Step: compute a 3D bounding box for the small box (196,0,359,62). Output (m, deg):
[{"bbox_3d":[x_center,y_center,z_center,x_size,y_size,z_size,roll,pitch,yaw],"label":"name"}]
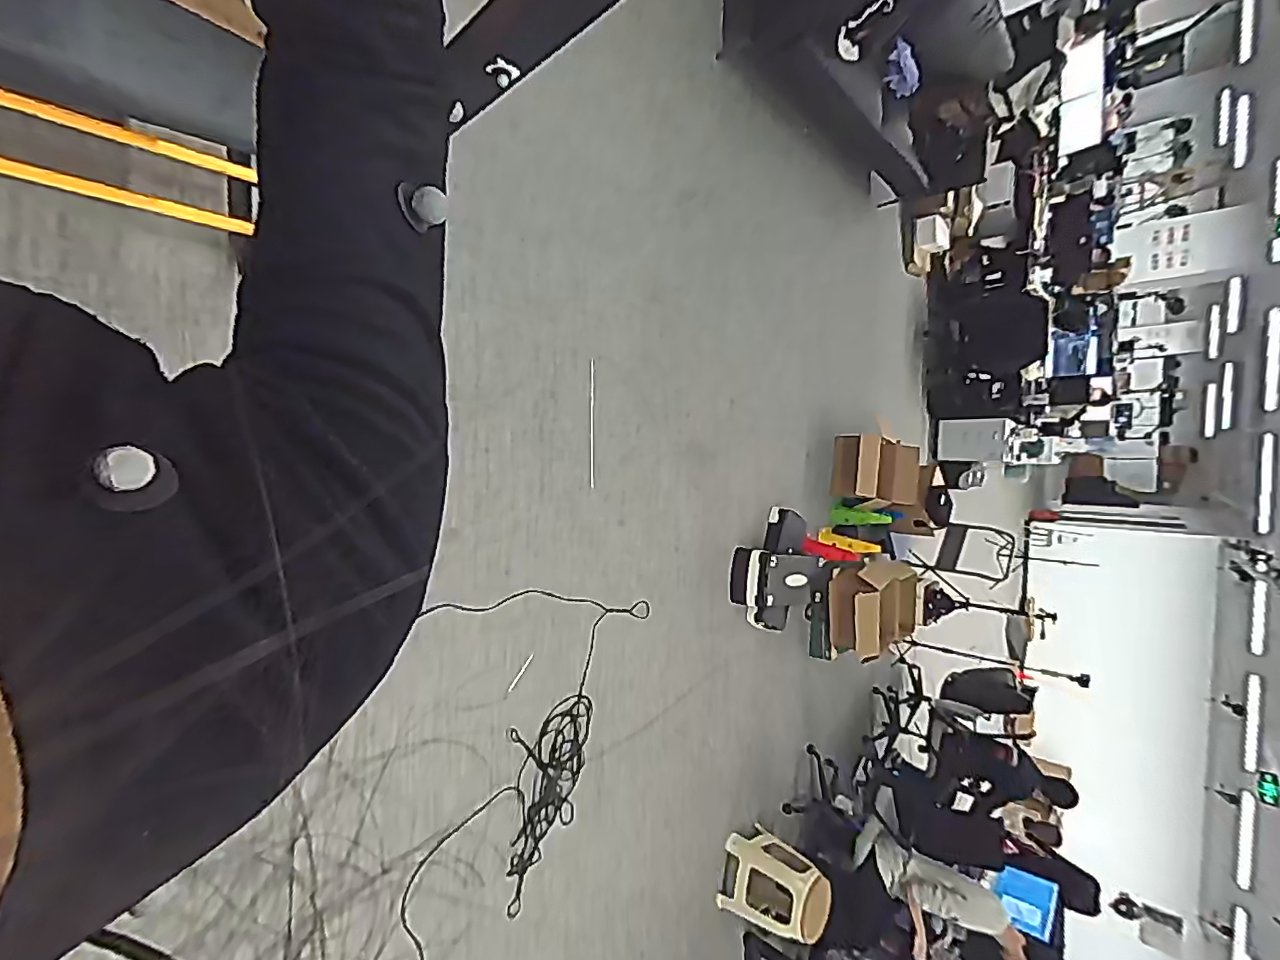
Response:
[{"bbox_3d":[-0.408,-0.609,0.579,0.168,0.176,0.179,3,90,-48],"label":"small box"}]
